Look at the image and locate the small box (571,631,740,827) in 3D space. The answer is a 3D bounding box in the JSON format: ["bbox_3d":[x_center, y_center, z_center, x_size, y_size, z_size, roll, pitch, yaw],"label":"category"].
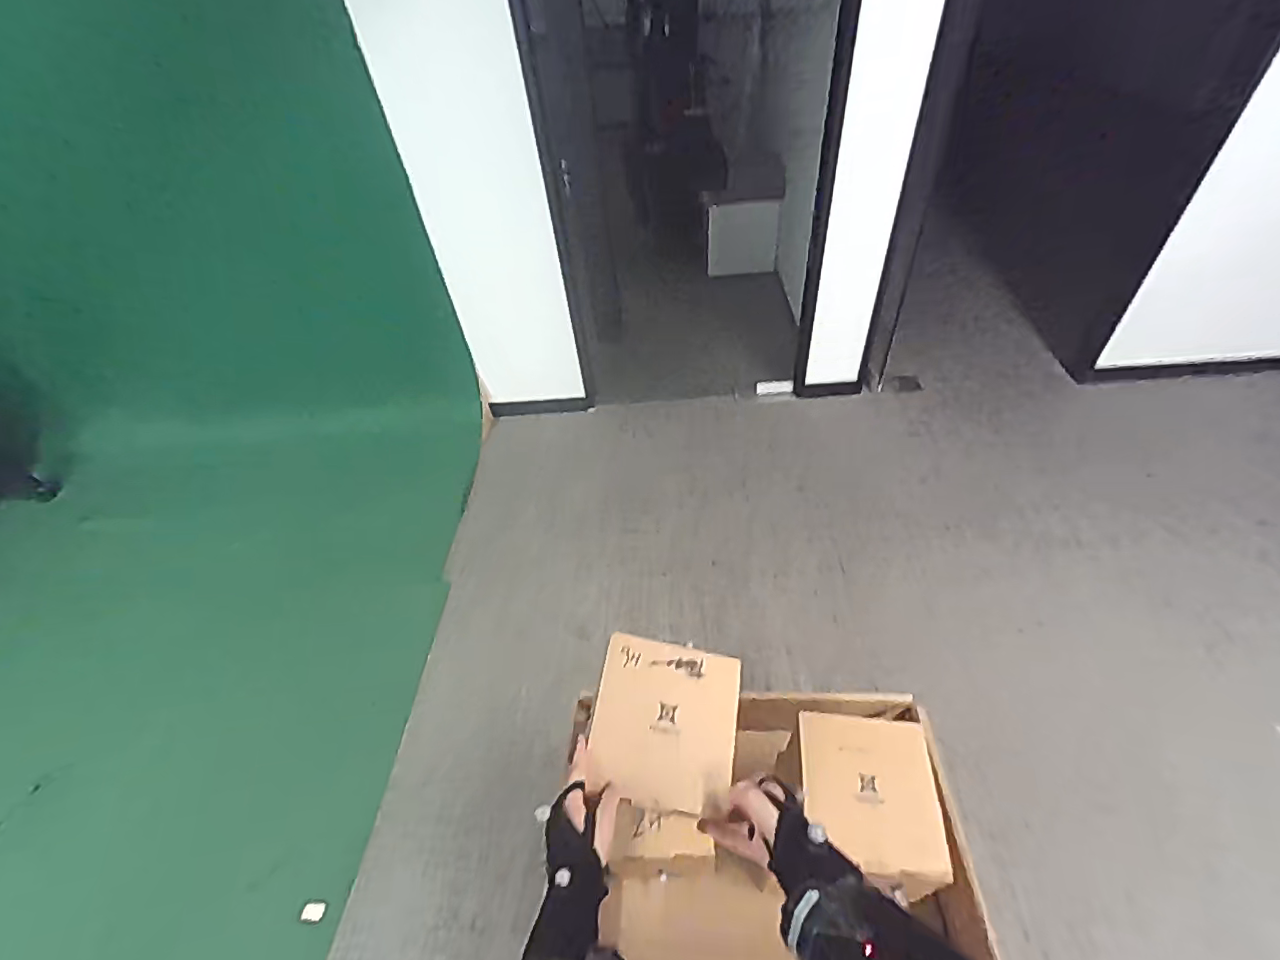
[{"bbox_3d":[0.015,0.312,0.681,0.168,0.176,0.179,14,60,-2],"label":"small box"}]

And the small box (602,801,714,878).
[{"bbox_3d":[0.031,0.537,0.896,0.168,0.176,0.179,-3,45,4],"label":"small box"}]

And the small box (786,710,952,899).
[{"bbox_3d":[0.292,0.441,0.733,0.168,0.176,0.179,4,46,9],"label":"small box"}]
